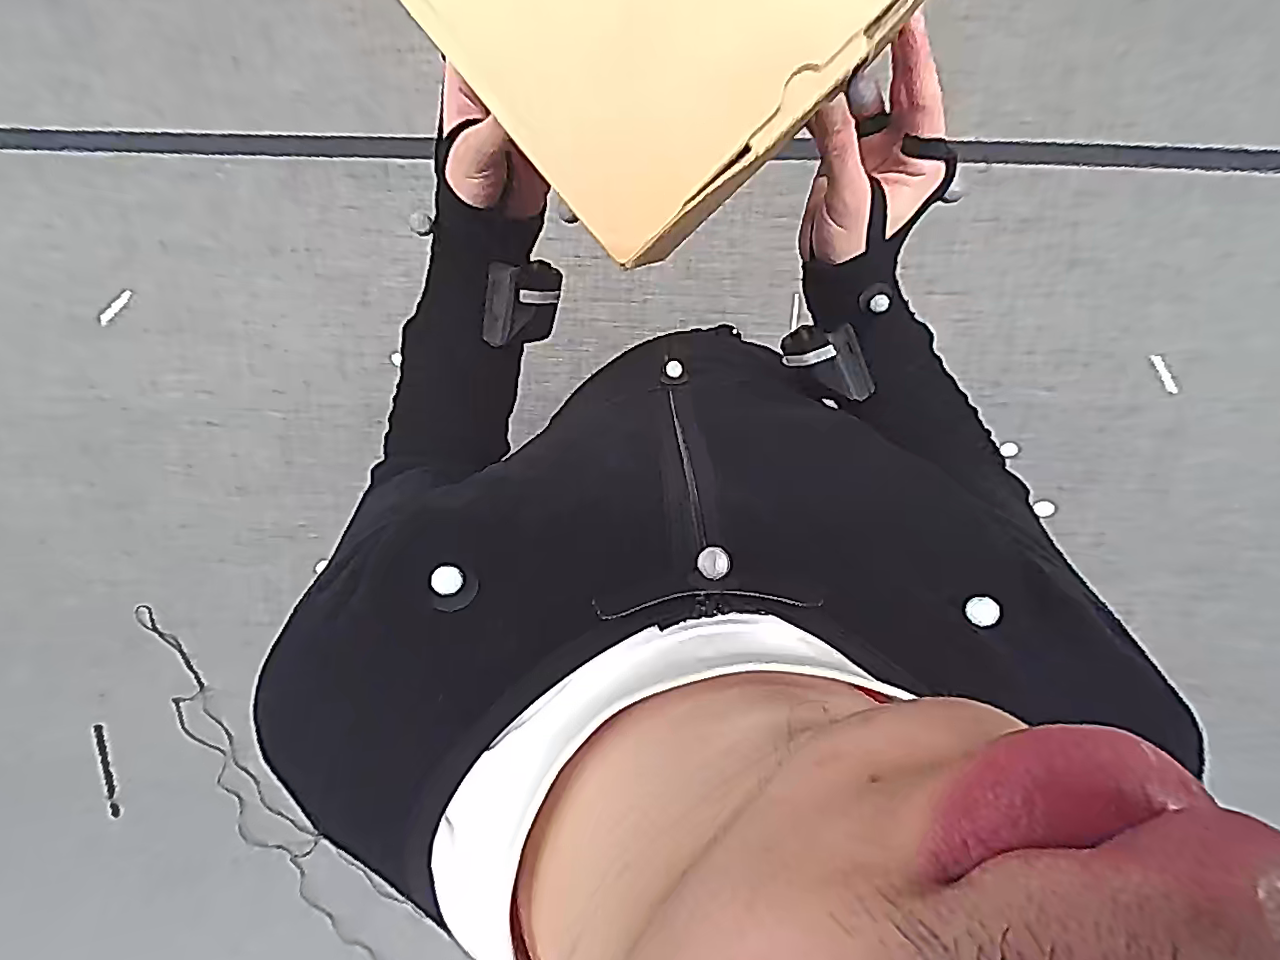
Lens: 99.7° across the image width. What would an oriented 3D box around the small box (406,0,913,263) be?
[{"bbox_3d":[0.007,-0.224,0.241,0.168,0.176,0.179,-39,102,19],"label":"small box"}]
